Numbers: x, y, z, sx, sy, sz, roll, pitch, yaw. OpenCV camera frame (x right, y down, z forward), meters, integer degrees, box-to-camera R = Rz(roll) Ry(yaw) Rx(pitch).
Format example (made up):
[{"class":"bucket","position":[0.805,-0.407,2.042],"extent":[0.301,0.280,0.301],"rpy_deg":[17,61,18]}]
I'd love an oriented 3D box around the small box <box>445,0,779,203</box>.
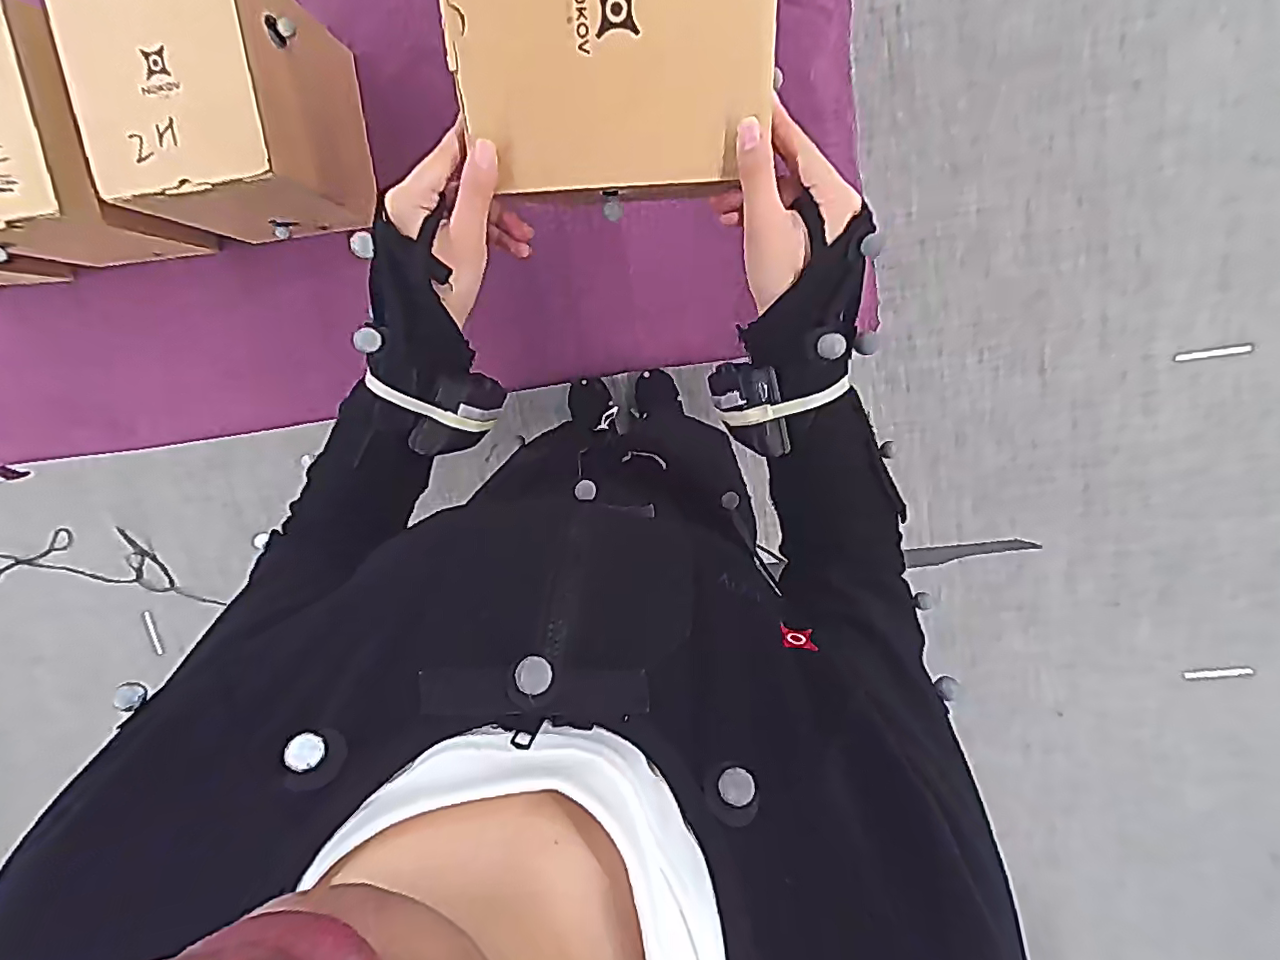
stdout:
[{"class":"small box","position":[-0.010,-0.278,0.352],"extent":[0.179,0.176,0.168],"rpy_deg":[0,115,5]}]
